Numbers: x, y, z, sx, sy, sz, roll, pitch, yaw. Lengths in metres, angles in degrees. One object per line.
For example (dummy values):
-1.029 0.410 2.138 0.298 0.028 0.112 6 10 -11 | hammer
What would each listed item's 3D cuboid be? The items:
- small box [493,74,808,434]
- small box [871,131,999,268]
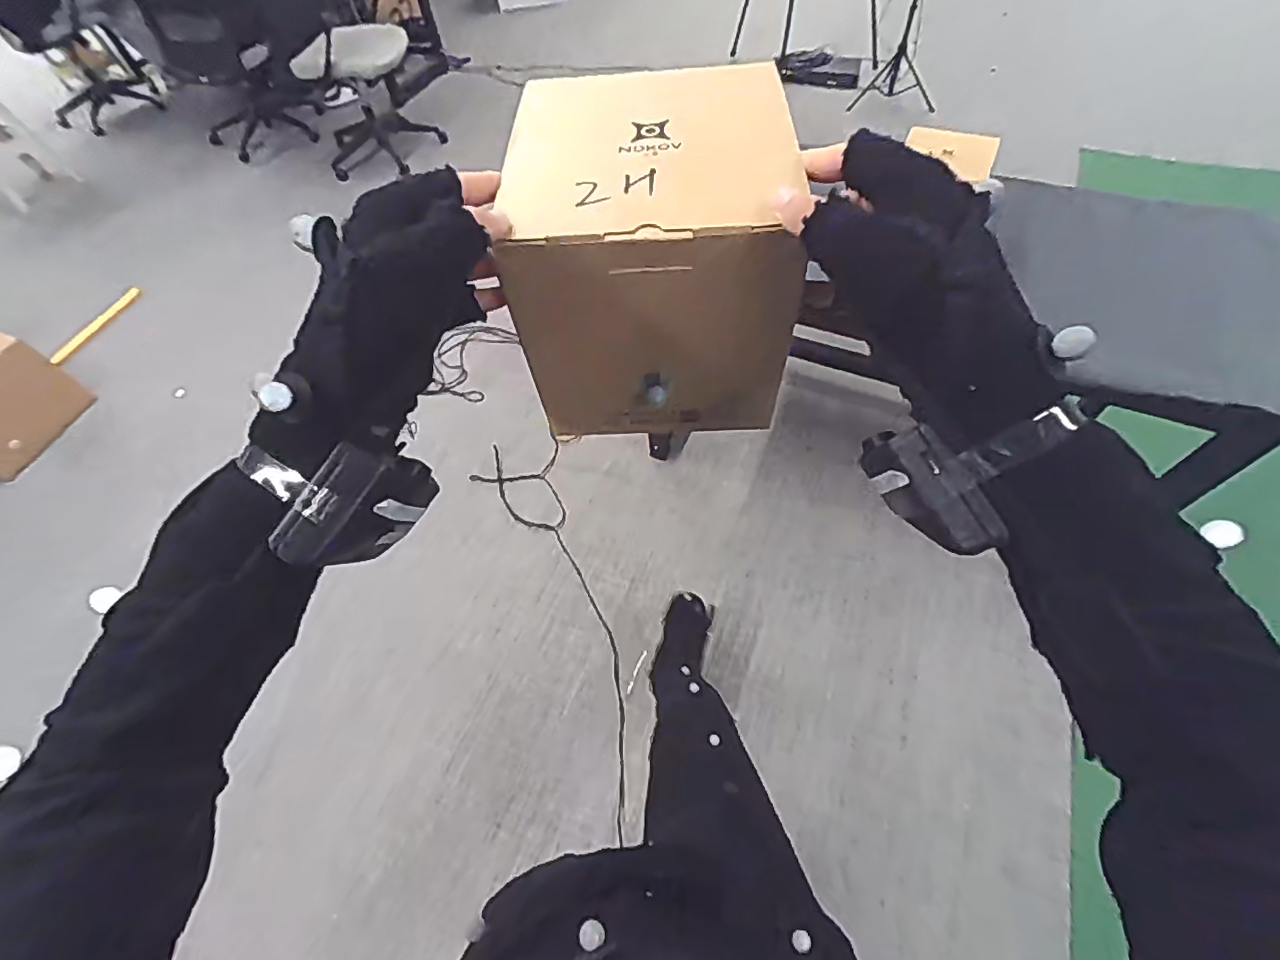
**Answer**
0.011 -0.152 0.387 0.168 0.176 0.179 -2 59 5 | small box
0.583 -0.561 1.085 0.168 0.176 0.179 20 61 18 | small box
